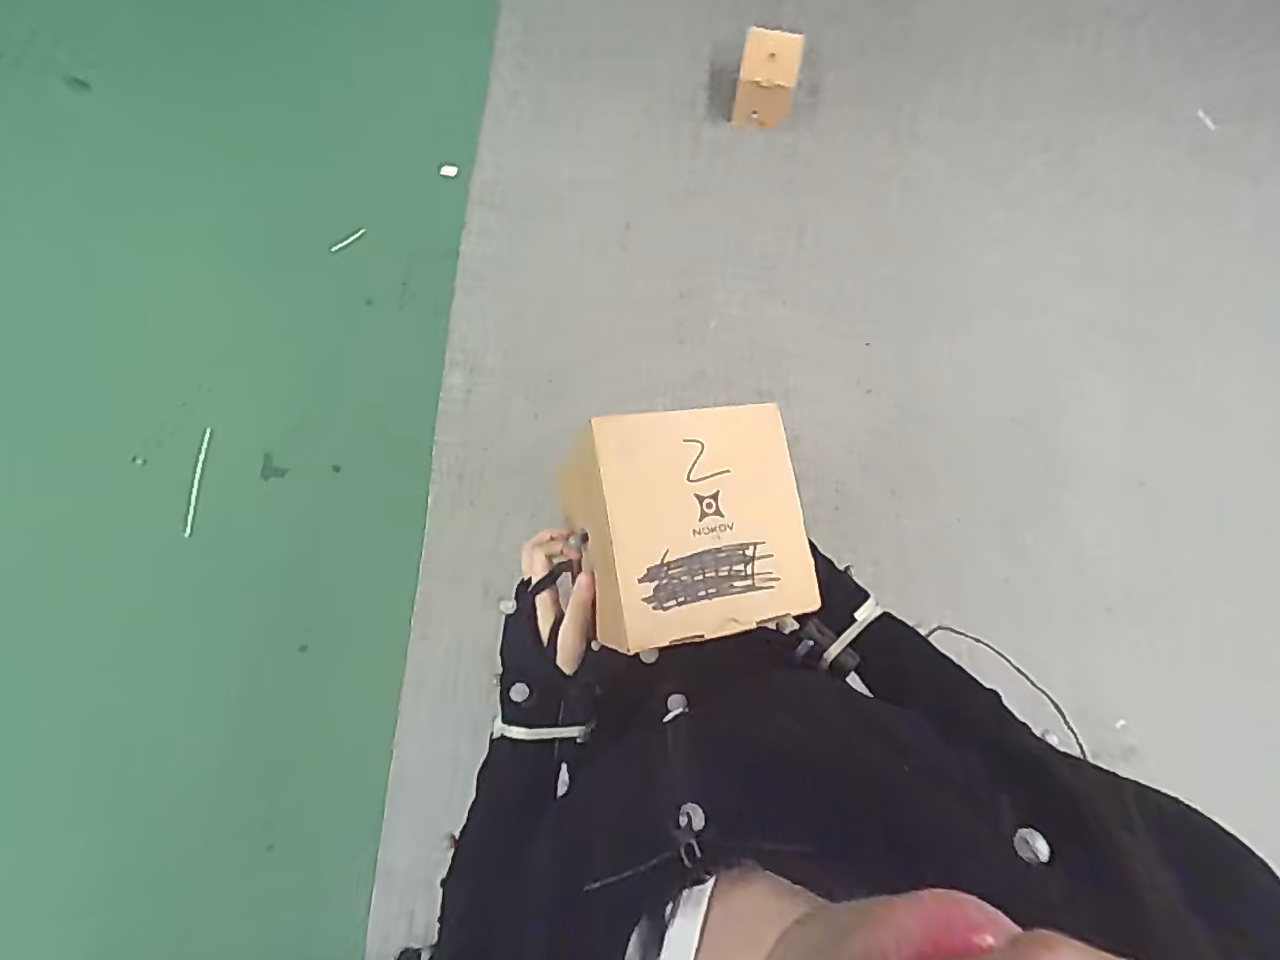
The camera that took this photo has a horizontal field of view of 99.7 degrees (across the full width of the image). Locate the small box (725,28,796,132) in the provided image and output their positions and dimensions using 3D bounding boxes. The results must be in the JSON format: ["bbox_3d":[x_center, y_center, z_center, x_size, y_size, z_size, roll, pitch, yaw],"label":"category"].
[{"bbox_3d":[0.359,-1.205,1.637,0.168,0.176,0.179,10,82,0],"label":"small box"}]
